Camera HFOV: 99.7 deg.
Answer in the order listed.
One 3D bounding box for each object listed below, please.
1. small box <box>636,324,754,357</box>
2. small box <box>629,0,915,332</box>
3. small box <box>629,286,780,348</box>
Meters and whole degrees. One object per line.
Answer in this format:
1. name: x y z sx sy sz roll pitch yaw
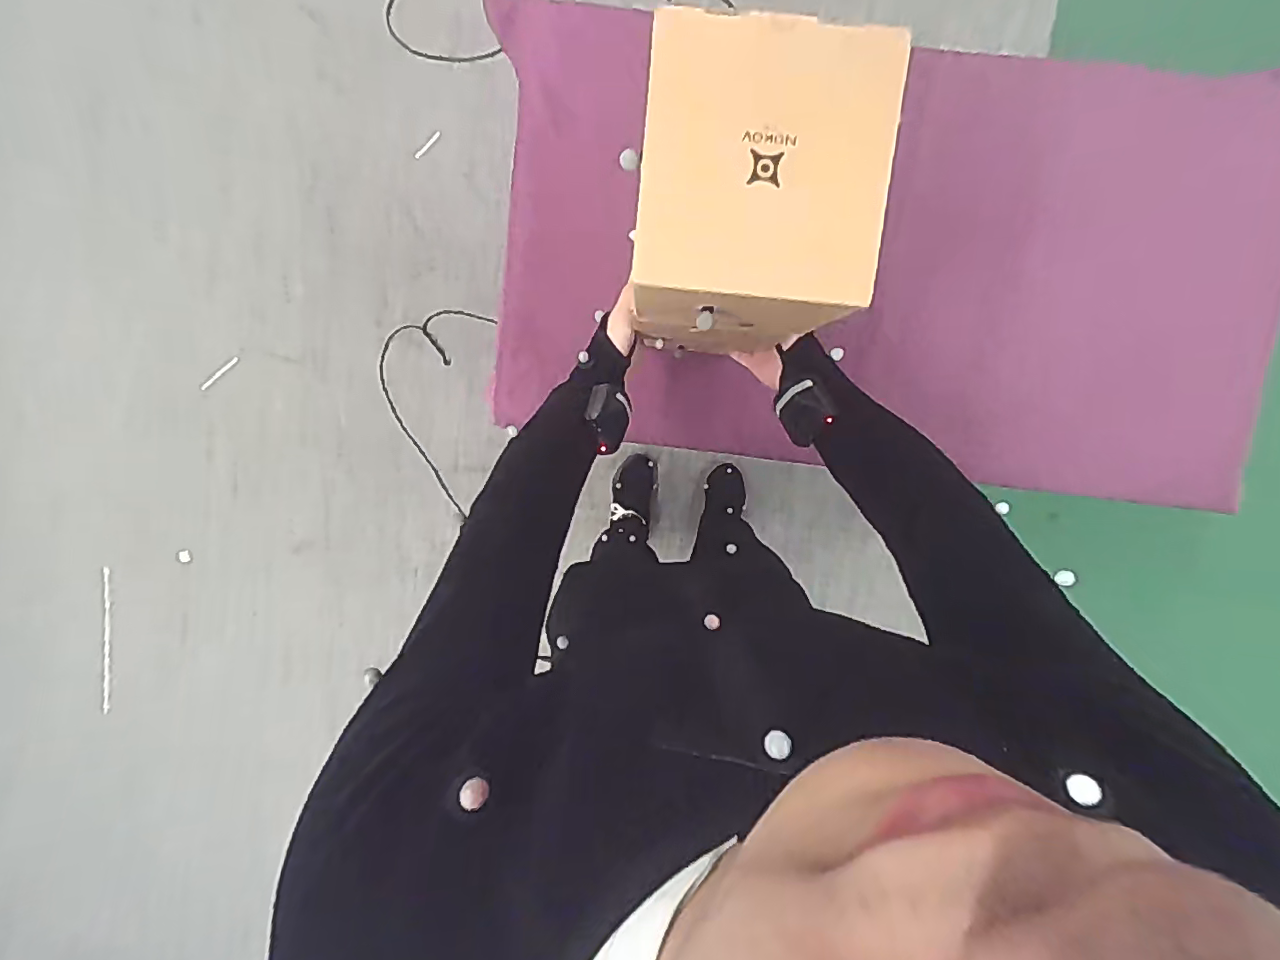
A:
1. small box: 0.084 -0.275 0.747 0.168 0.176 0.179 7 97 -1
2. small box: 0.084 -0.221 0.426 0.168 0.176 0.179 5 96 0
3. small box: 0.082 -0.246 0.586 0.168 0.176 0.179 7 96 0
